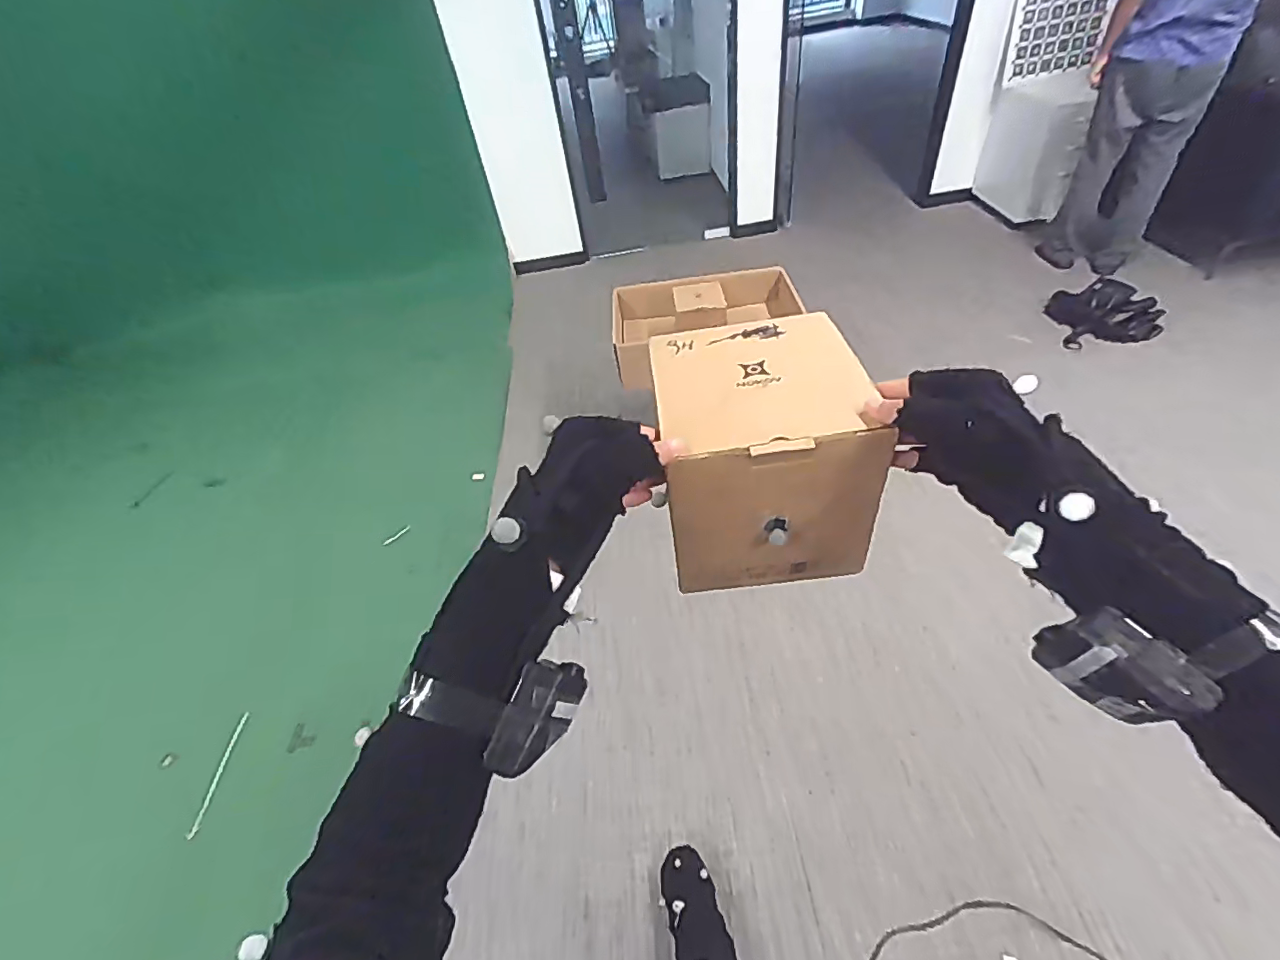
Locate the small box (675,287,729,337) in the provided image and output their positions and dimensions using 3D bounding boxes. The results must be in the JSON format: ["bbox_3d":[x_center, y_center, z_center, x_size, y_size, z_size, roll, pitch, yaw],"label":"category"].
[{"bbox_3d":[0.214,-0.539,1.858,0.168,0.176,0.179,-6,43,2],"label":"small box"}]

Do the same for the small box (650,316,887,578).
[{"bbox_3d":[0.104,-0.024,0.500,0.168,0.176,0.179,-7,43,3],"label":"small box"}]
